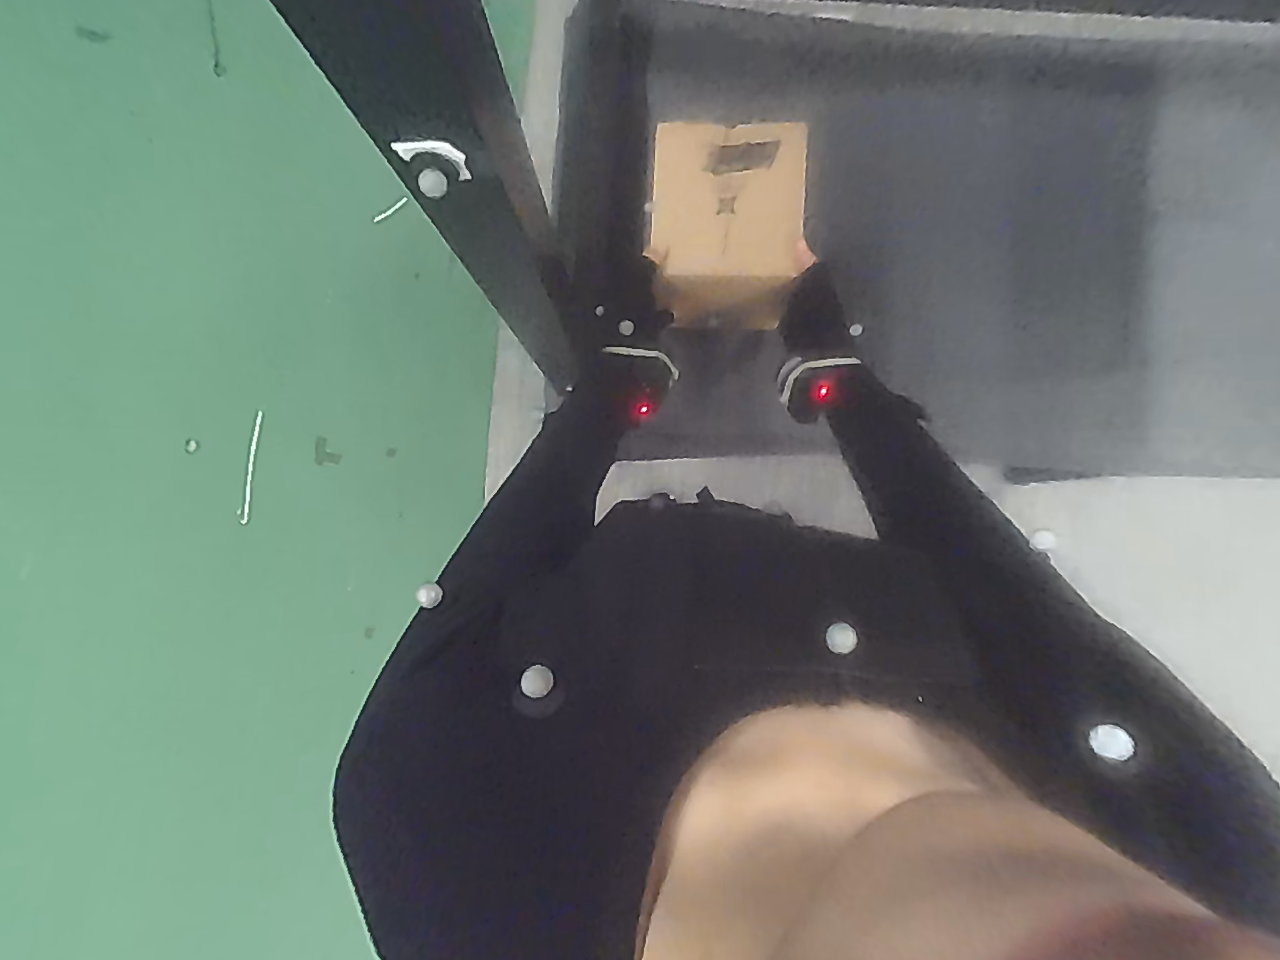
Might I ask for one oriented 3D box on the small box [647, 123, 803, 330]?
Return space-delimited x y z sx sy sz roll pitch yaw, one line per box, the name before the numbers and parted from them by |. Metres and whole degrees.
small box | 0.098 -0.303 0.671 0.168 0.176 0.179 3 87 5
